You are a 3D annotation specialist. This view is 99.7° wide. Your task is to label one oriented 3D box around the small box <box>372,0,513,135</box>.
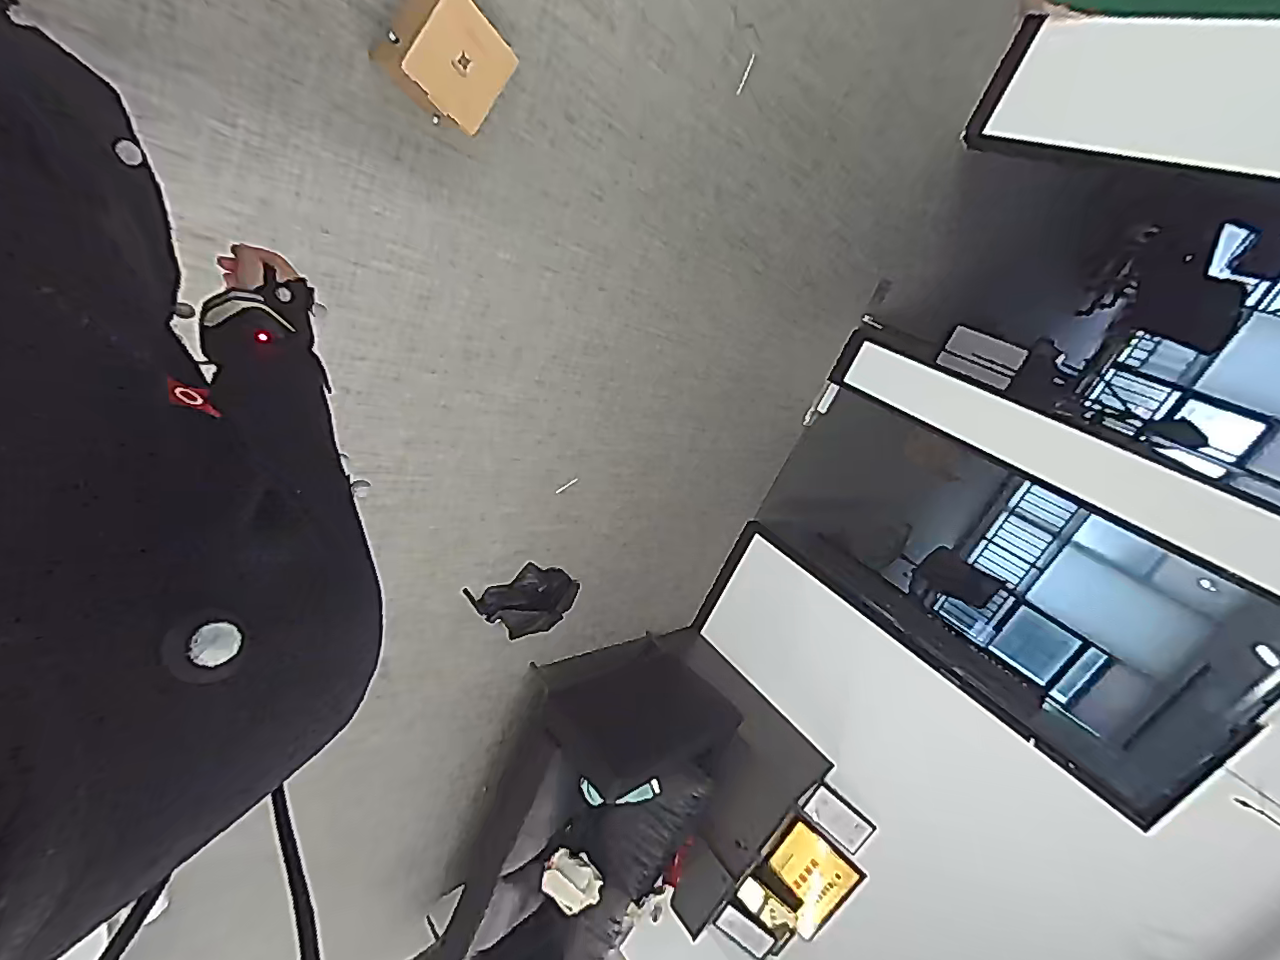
[{"bbox_3d":[-0.385,-0.812,1.041,0.179,0.176,0.168,-55,145,6],"label":"small box"}]
